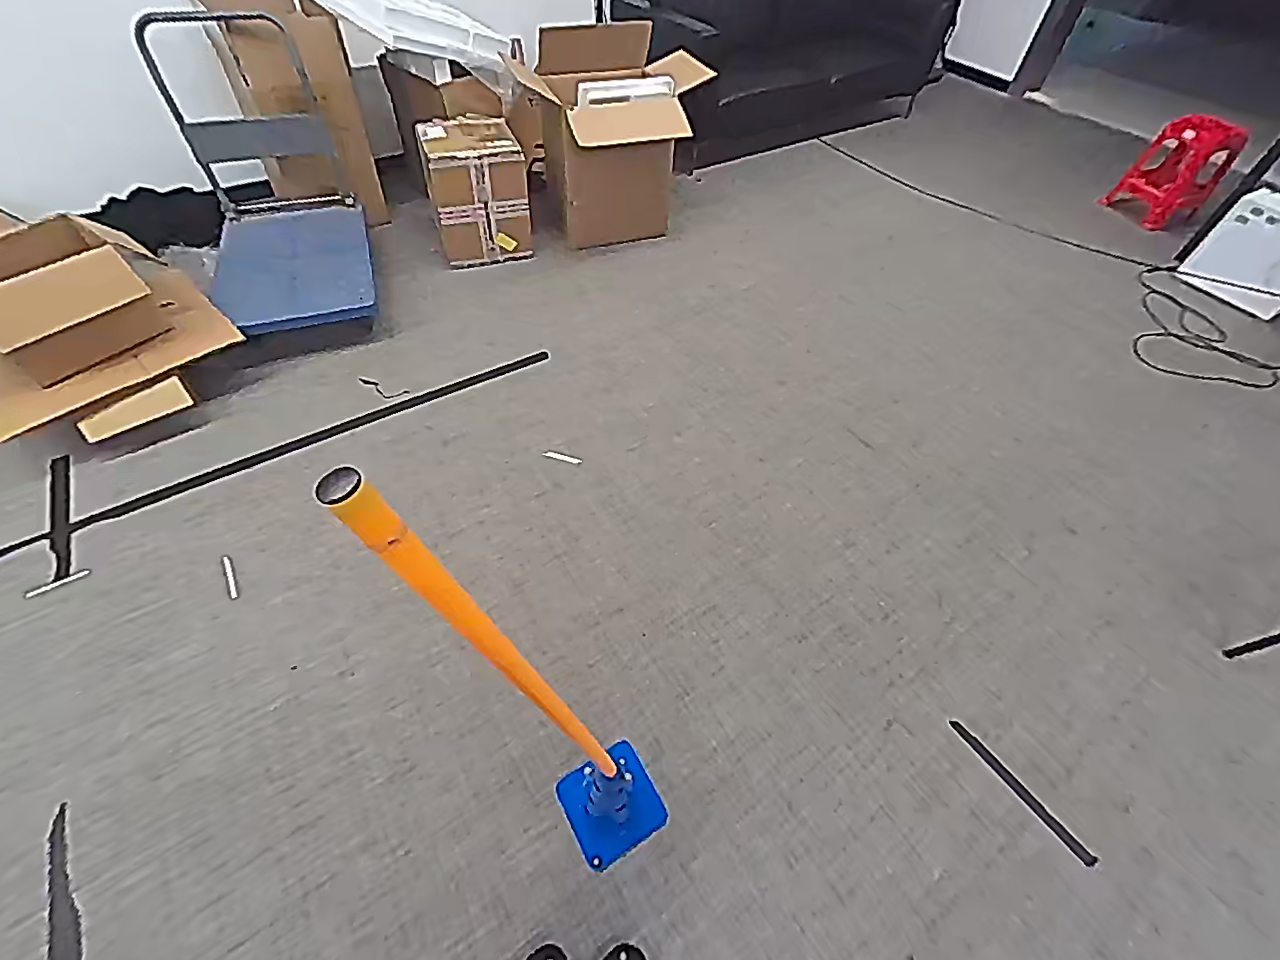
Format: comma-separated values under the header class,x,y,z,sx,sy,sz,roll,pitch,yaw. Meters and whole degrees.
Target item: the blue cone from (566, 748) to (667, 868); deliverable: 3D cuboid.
class,x,y,z,sx,sy,sz,roll,pitch,yaw
blue cone,-0.048,0.627,1.089,0.193,0.380,0.192,-23,57,-20
